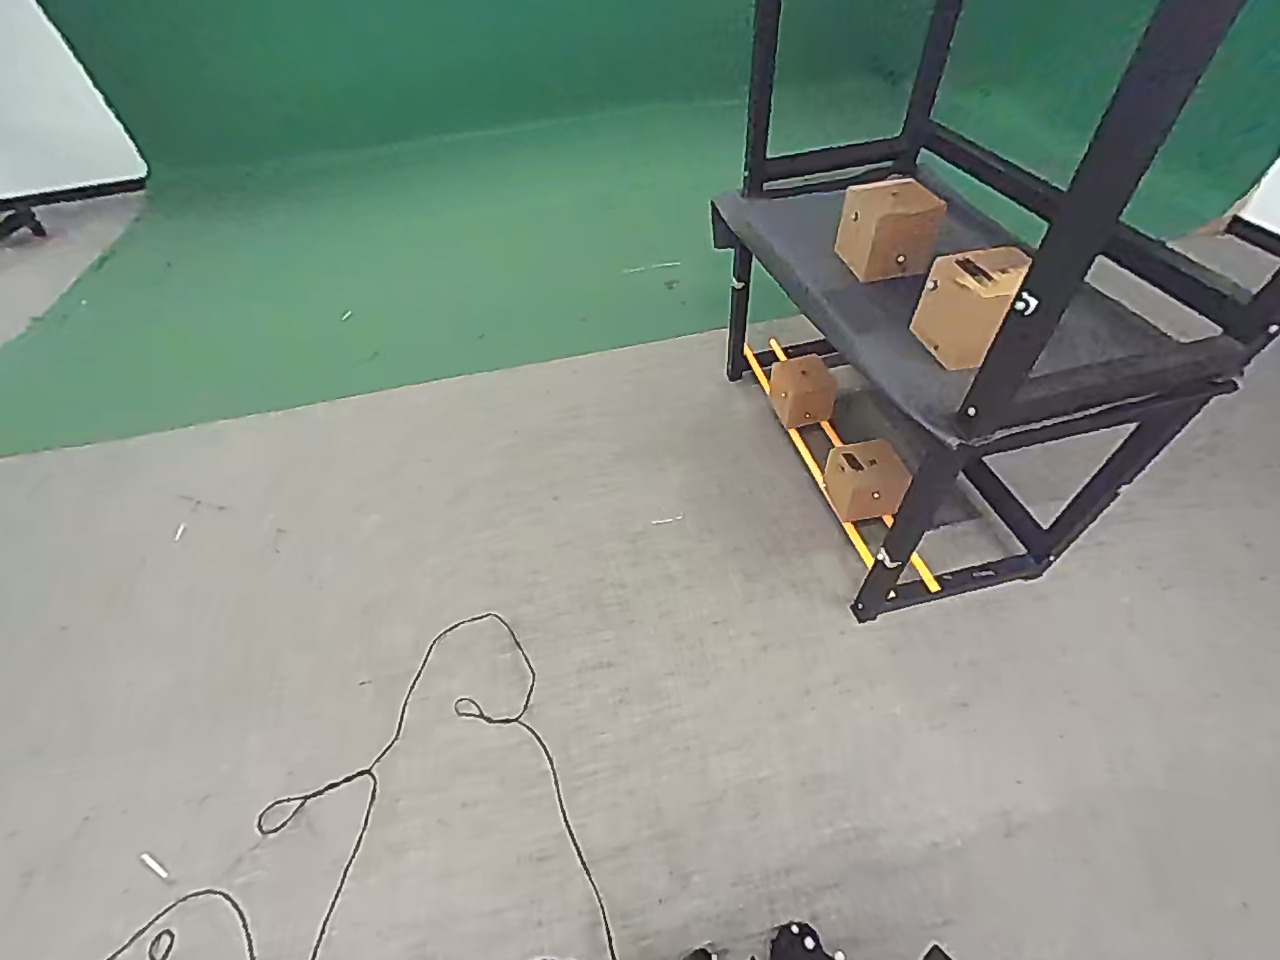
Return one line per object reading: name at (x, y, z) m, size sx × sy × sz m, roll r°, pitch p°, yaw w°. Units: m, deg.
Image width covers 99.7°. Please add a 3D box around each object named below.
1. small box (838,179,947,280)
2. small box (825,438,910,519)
small box at (0.617, -0.625, 1.350) m, size 0.168 × 0.176 × 0.179 m, roll -9°, pitch 50°, yaw -3°
small box at (0.674, 0.000, 1.633) m, size 0.179 × 0.176 × 0.168 m, roll -9°, pitch 50°, yaw -3°
